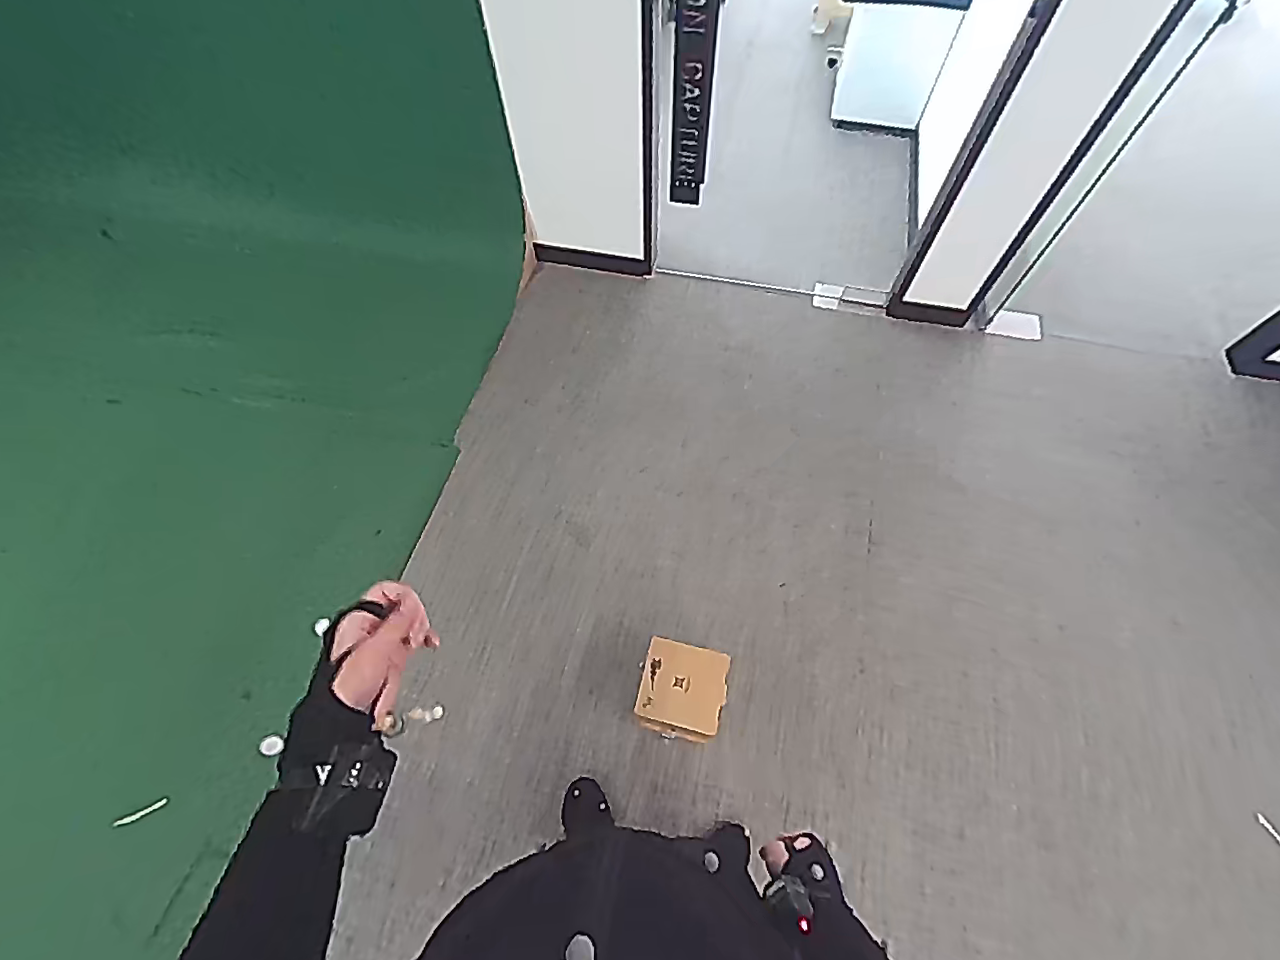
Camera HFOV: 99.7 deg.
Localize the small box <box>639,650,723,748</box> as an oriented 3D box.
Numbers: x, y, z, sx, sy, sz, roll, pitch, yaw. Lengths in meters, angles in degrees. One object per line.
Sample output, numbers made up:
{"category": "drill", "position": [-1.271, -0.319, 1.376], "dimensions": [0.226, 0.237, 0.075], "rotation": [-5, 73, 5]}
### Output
{"category": "small box", "position": [0.101, 0.544, 1.334], "dimensions": [0.168, 0.176, 0.179], "rotation": [13, 63, 10]}
